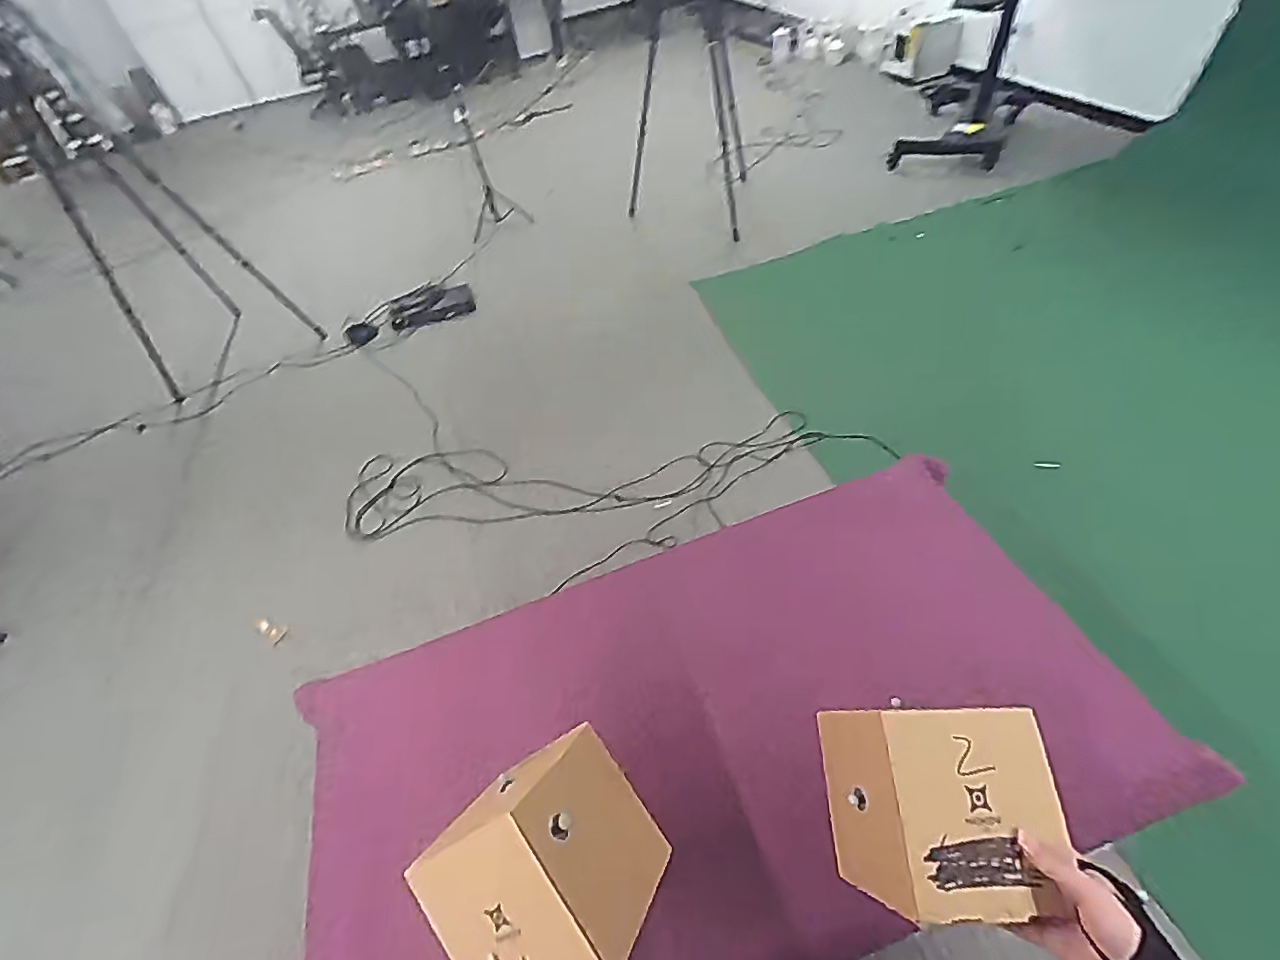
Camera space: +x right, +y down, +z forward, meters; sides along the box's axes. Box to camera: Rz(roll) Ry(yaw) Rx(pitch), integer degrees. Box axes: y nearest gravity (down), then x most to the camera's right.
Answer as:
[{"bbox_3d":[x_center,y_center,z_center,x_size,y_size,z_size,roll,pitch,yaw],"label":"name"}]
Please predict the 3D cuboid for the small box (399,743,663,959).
[{"bbox_3d":[-0.105,0.411,0.572,0.168,0.176,0.179,-38,81,20],"label":"small box"}]
